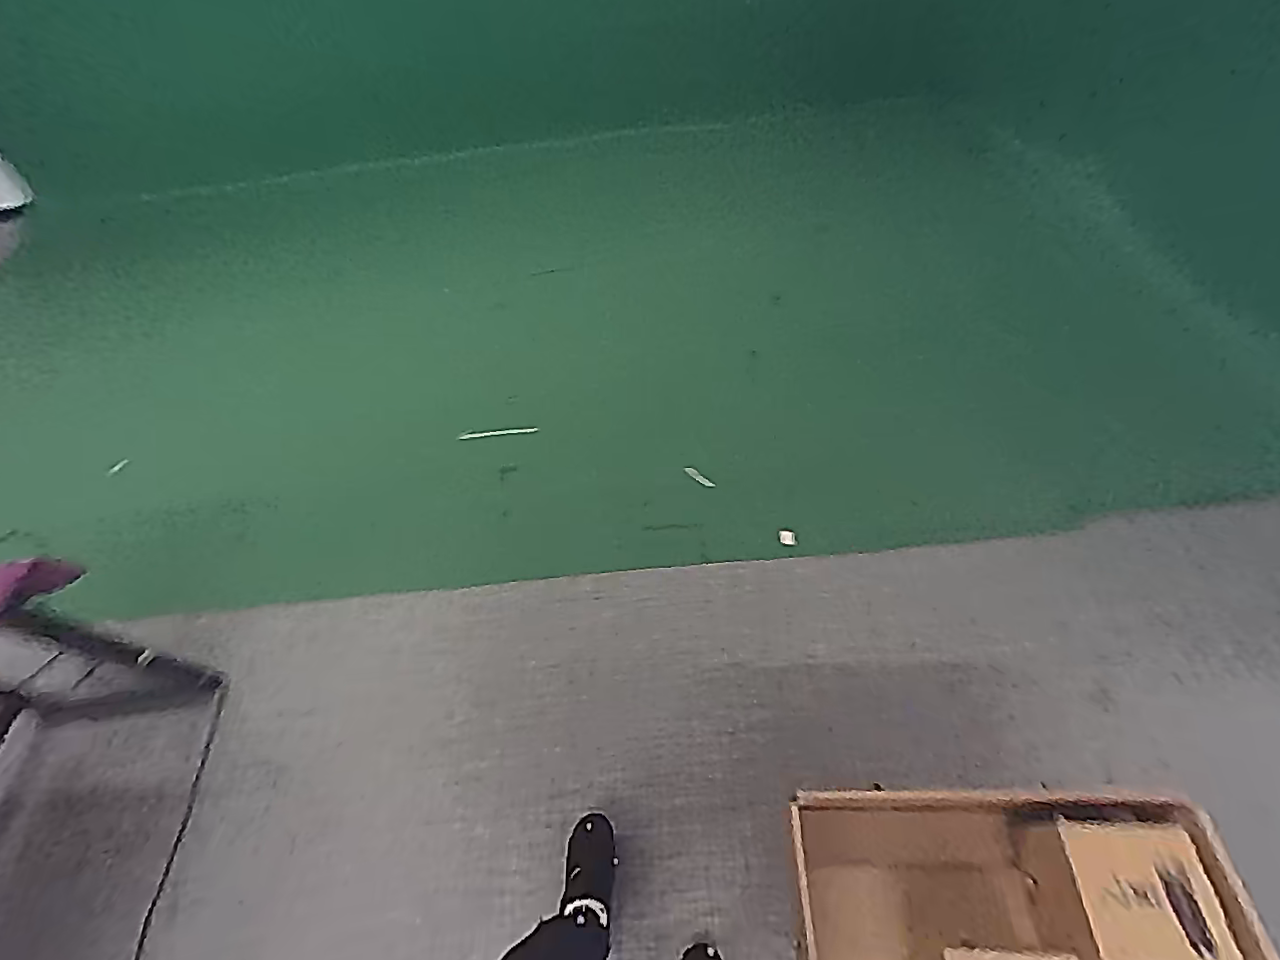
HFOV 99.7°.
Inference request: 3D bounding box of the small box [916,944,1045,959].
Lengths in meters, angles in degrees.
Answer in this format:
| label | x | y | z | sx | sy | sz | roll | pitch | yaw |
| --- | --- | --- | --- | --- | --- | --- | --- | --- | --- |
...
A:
| label | x | y | z | sx | sy | sz | roll | pitch | yaw |
| --- | --- | --- | --- | --- | --- | --- | --- | --- | --- |
| small box | 0.497 | 0.755 | 0.736 | 0.179 | 0.176 | 0.168 | -1 | 56 | 7 |
